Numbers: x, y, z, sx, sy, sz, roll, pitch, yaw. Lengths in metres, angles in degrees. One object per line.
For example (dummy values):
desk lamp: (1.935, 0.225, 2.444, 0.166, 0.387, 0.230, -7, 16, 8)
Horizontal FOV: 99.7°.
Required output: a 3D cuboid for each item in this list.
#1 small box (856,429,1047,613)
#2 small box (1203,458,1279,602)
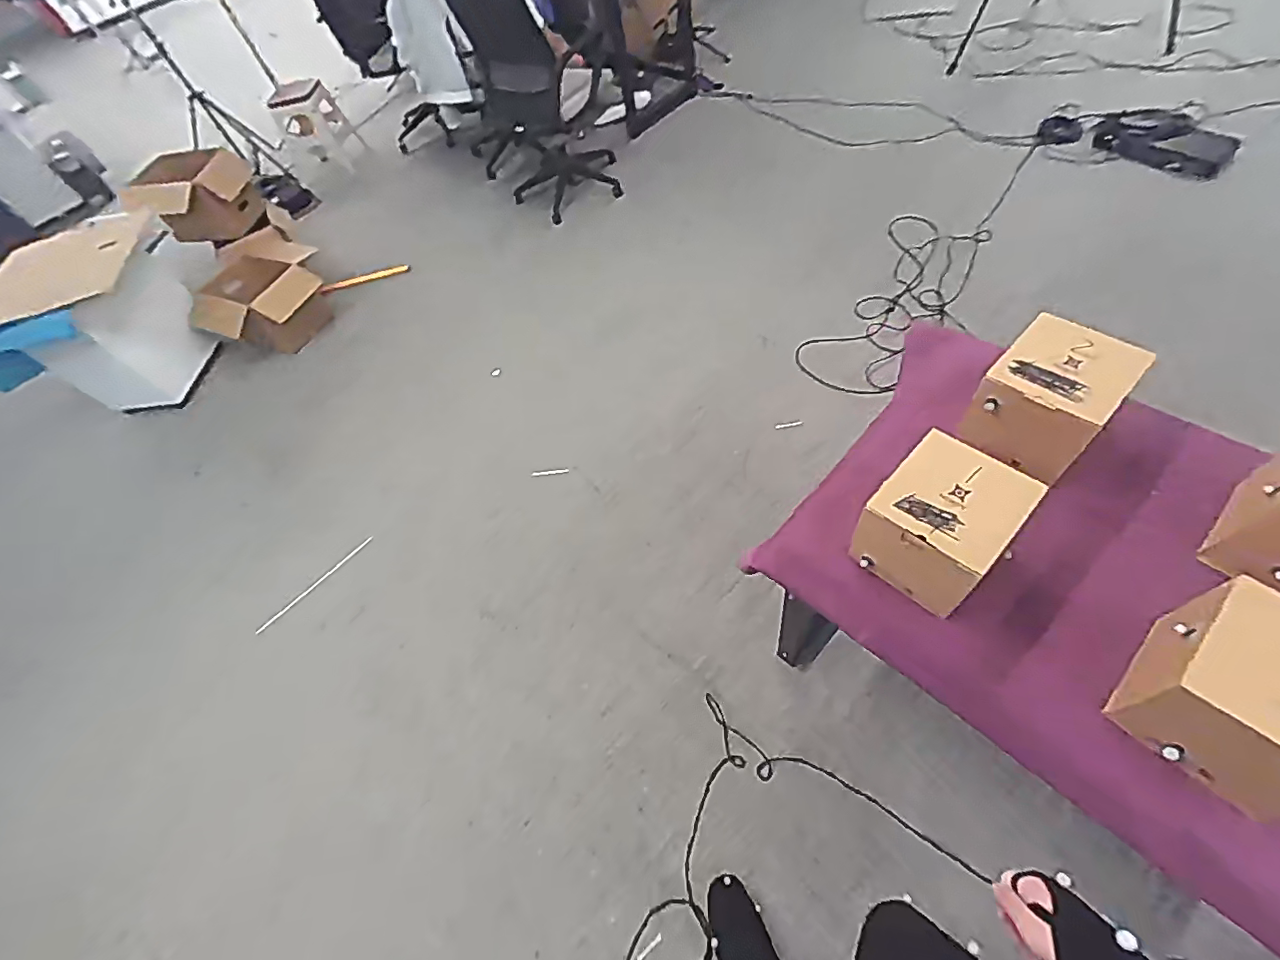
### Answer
small box: (0.444, 0.066, 0.802, 0.179, 0.176, 0.168, -42, 60, -17)
small box: (0.918, 0.060, 0.712, 0.179, 0.176, 0.168, -43, 60, -15)
